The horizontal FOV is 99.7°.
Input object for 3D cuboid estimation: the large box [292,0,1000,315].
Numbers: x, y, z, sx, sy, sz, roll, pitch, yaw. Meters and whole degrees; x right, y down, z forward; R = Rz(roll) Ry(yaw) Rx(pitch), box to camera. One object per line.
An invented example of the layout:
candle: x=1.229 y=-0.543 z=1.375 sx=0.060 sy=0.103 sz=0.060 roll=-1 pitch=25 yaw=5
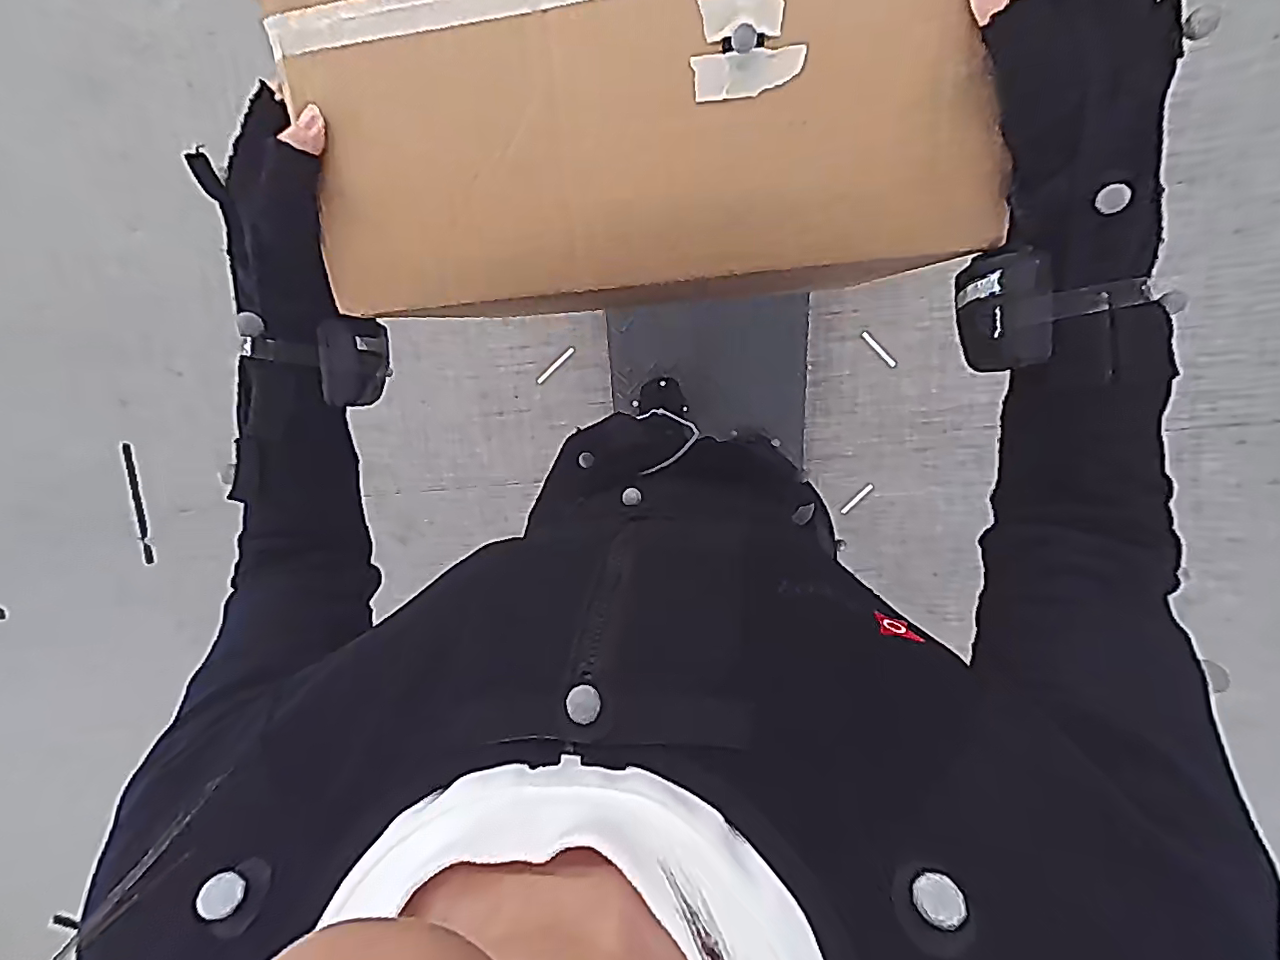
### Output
large box: x=0.006 y=-0.318 z=0.441 sx=0.408 sy=0.320 sz=0.320 roll=-3 pitch=106 yaw=8
